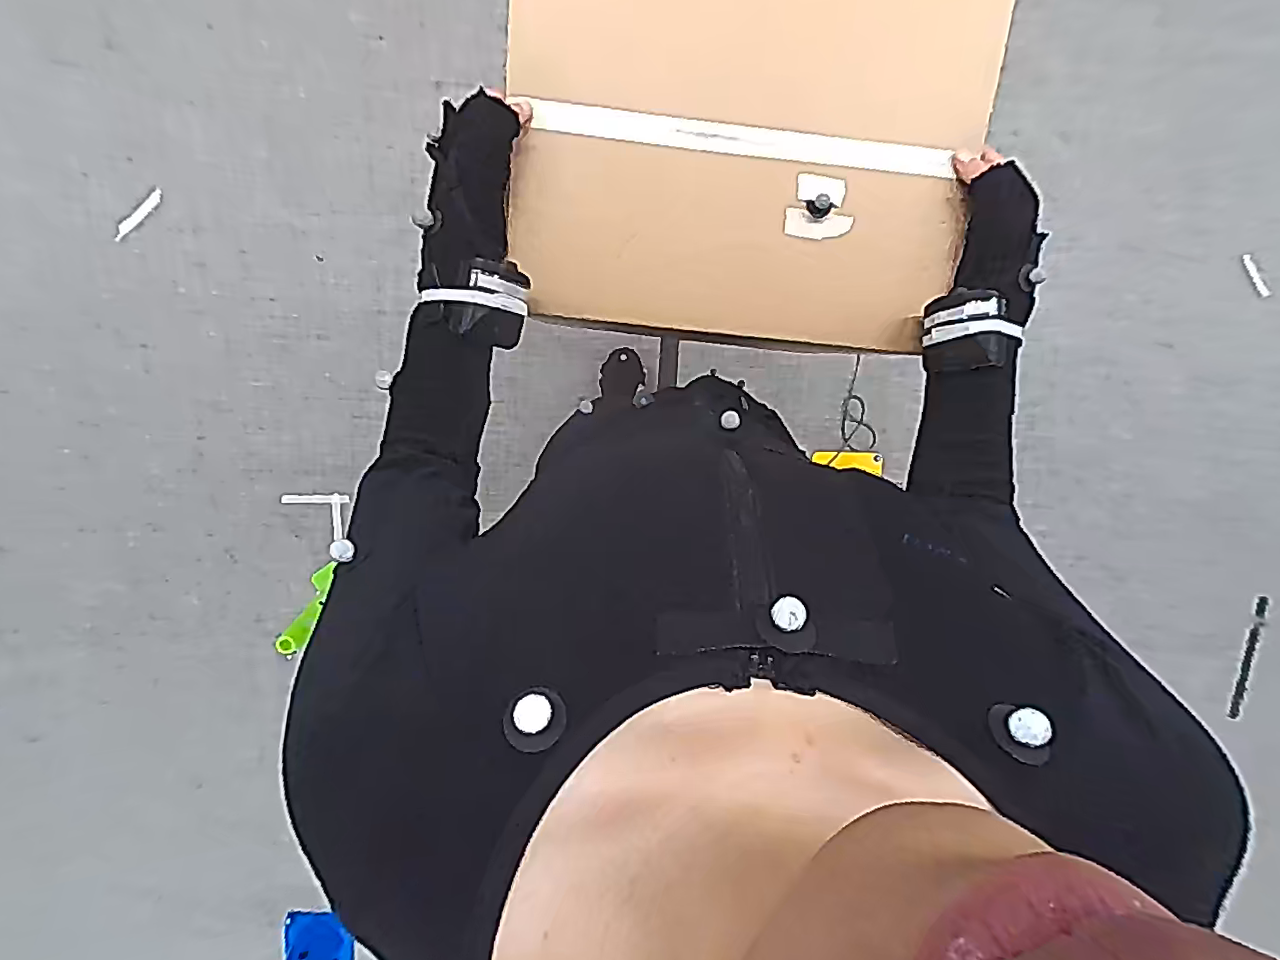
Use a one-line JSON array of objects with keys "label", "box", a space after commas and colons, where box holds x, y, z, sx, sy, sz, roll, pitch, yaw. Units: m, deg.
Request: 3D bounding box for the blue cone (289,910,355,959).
[{"label": "blue cone", "box": [-0.955, 1.413, 1.475, 0.192, 0.380, 0.193, 6, 98, -3]}]

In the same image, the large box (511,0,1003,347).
[{"label": "large box", "box": [0.084, -0.325, 0.605, 0.408, 0.320, 0.320, 5, 104, -5]}]
